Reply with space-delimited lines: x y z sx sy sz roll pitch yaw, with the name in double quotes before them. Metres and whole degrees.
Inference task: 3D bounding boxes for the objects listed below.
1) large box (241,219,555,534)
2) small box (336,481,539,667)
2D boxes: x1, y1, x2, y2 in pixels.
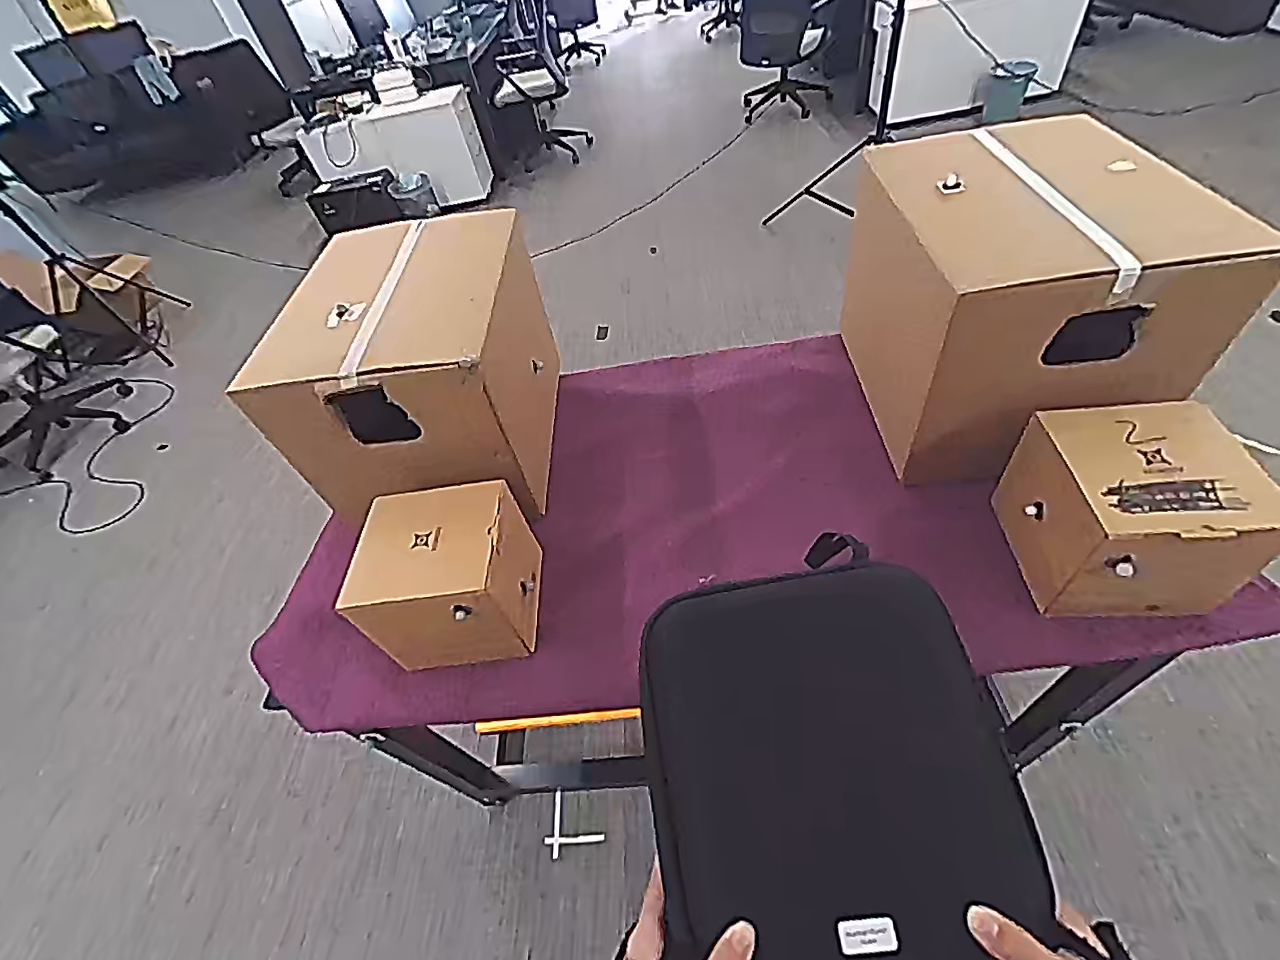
"large box" -0.326 -0.163 0.878 0.320 0.320 0.408 -7 51 4
"small box" -0.245 0.127 0.703 0.179 0.176 0.168 -8 47 4
